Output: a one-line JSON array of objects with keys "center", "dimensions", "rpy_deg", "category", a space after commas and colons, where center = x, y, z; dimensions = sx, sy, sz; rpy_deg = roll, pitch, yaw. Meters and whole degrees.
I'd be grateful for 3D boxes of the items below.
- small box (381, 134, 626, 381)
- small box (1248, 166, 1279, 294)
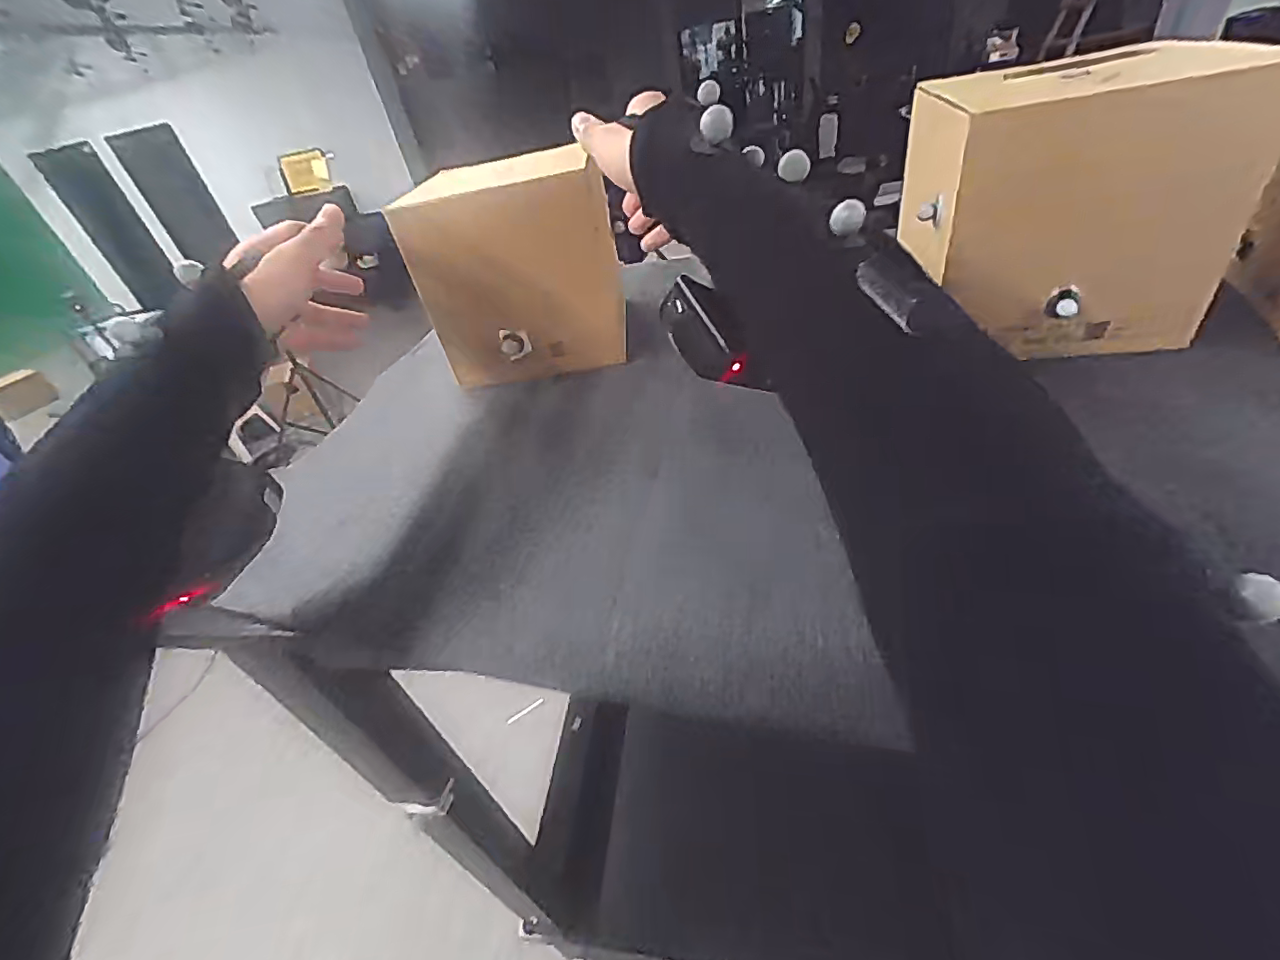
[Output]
[{"center": [-0.110, -0.216, 0.524], "dimensions": [0.168, 0.176, 0.179], "rpy_deg": [-9, 38, 6], "category": "small box"}, {"center": [0.513, -0.184, 0.306], "dimensions": [0.179, 0.176, 0.168], "rpy_deg": [9, 42, 24], "category": "small box"}]
